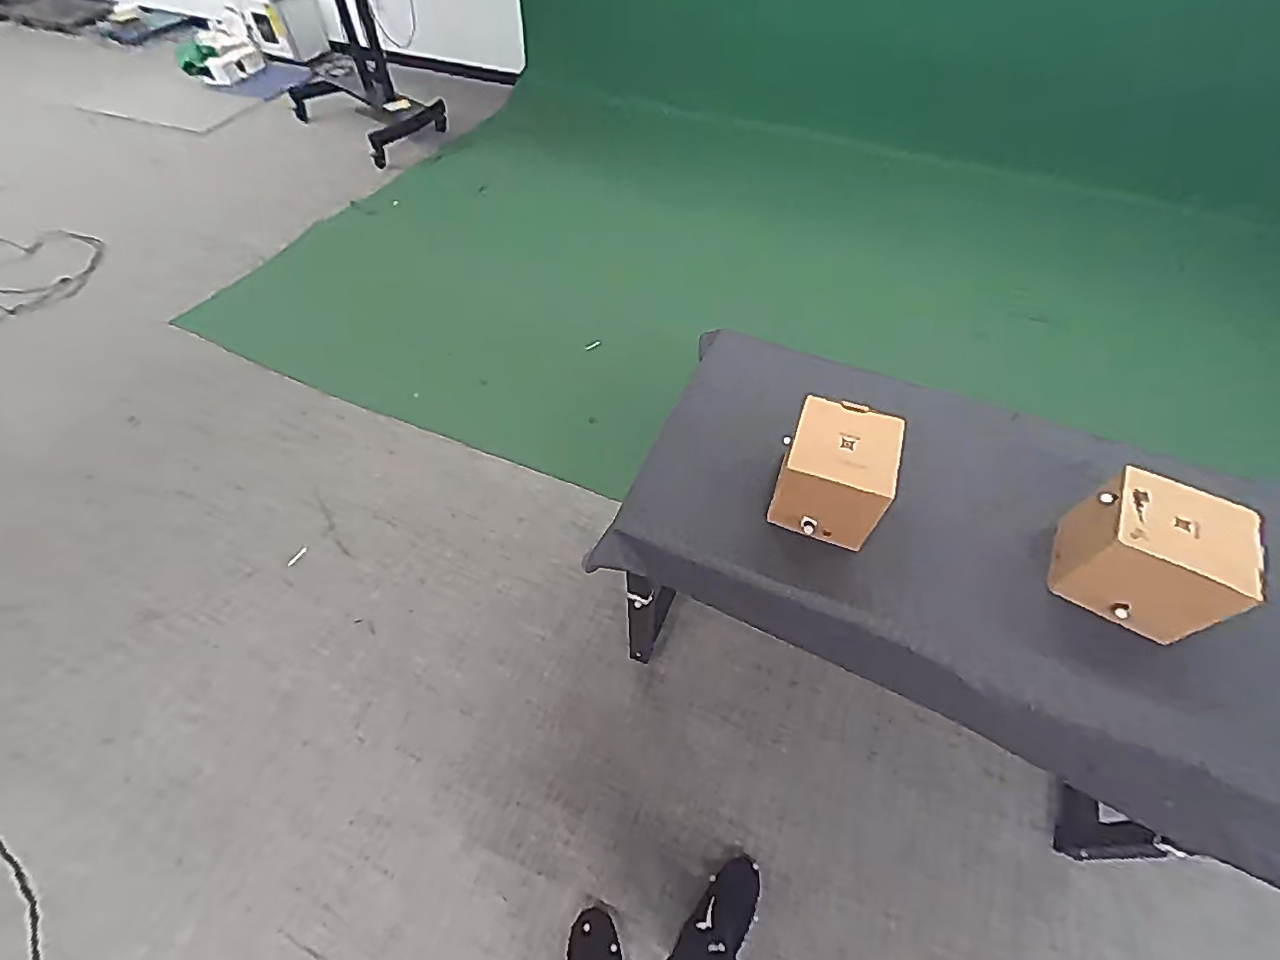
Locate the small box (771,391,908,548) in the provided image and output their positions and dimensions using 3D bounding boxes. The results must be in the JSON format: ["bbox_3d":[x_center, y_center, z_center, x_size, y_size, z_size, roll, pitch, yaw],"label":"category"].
[{"bbox_3d":[0.332,-0.016,0.921,0.168,0.176,0.179,18,56,15],"label":"small box"}]

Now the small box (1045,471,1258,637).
[{"bbox_3d":[0.789,0.123,0.847,0.179,0.176,0.168,28,58,18],"label":"small box"}]
